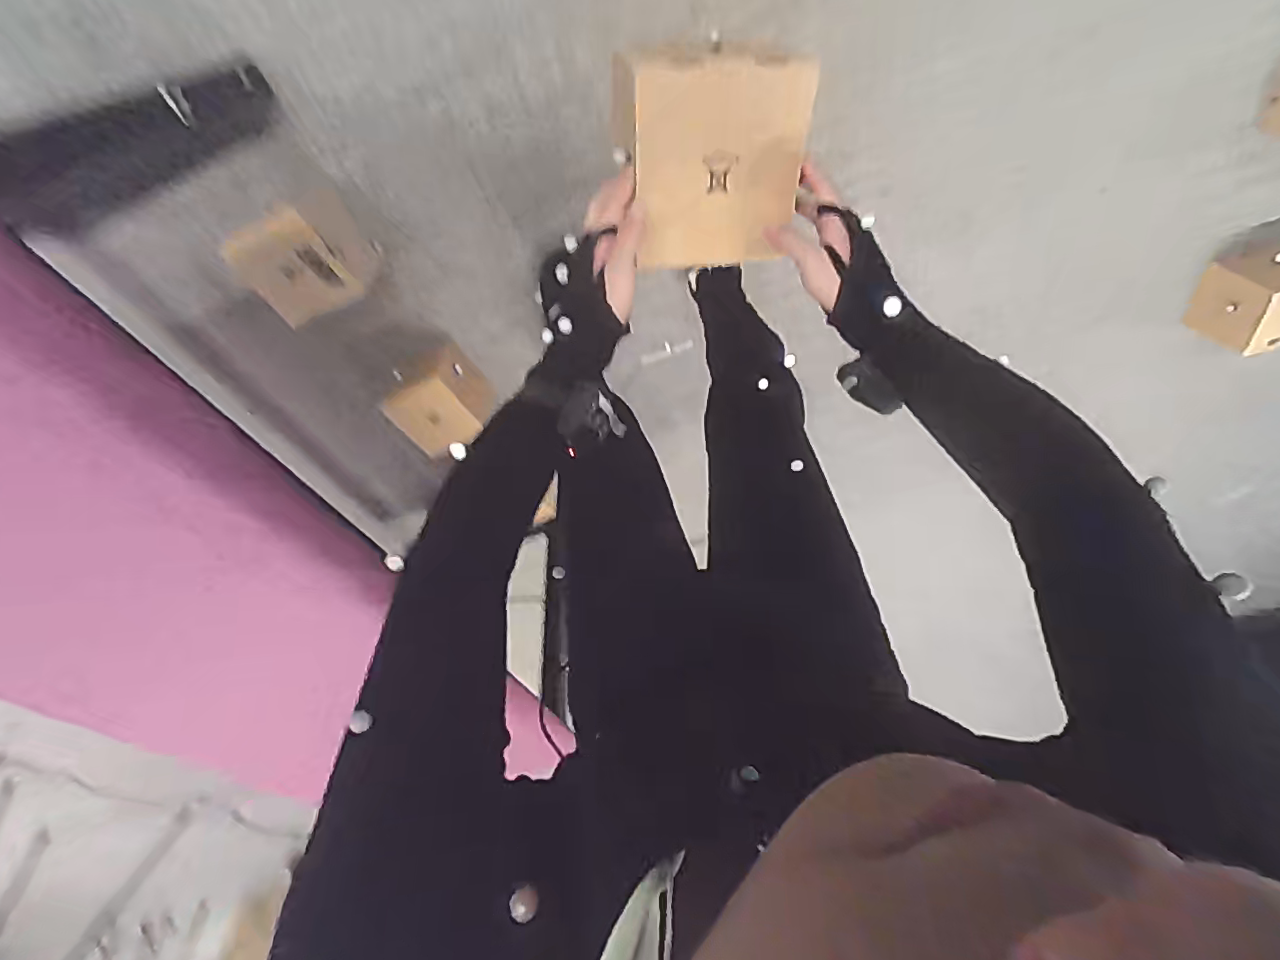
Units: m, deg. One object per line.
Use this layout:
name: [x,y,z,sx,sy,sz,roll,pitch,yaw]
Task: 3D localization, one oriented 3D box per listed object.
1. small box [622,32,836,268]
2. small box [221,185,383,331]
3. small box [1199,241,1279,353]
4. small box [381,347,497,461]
small box: [0.073,-0.340,0.556,0.168,0.176,0.179,-6,134,-6]
small box: [-0.610,-0.417,1.008,0.179,0.176,0.168,-20,131,13]
small box: [1.455,-0.429,1.237,0.168,0.176,0.179,-18,132,10]
small box: [-0.453,-0.183,1.244,0.168,0.176,0.179,-23,132,15]
